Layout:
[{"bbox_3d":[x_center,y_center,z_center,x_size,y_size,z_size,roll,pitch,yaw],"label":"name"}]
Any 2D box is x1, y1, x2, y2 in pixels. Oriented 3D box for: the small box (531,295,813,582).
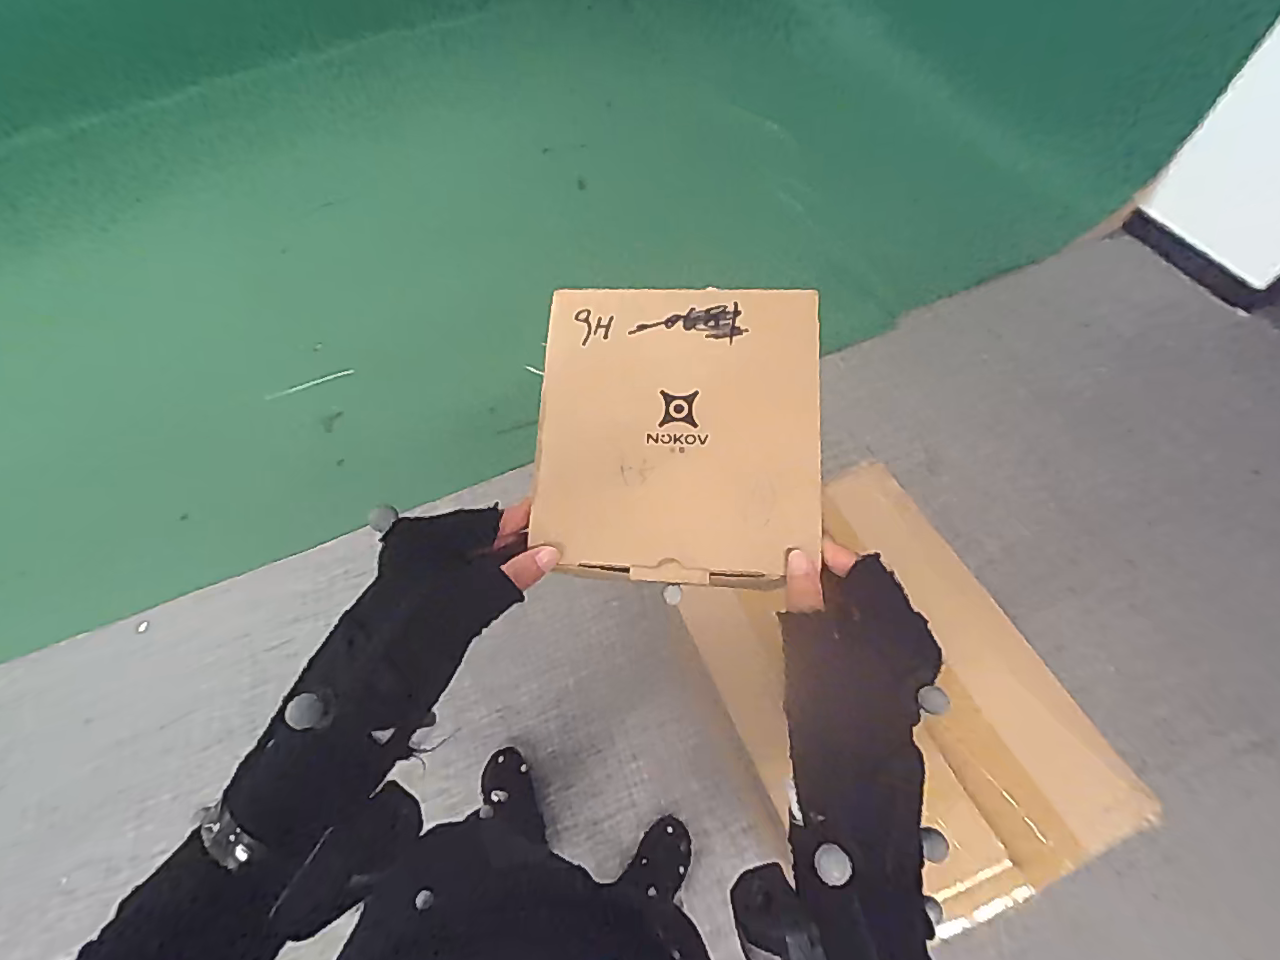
[{"bbox_3d":[0.028,-0.016,0.404,0.168,0.176,0.179,2,79,5],"label":"small box"}]
